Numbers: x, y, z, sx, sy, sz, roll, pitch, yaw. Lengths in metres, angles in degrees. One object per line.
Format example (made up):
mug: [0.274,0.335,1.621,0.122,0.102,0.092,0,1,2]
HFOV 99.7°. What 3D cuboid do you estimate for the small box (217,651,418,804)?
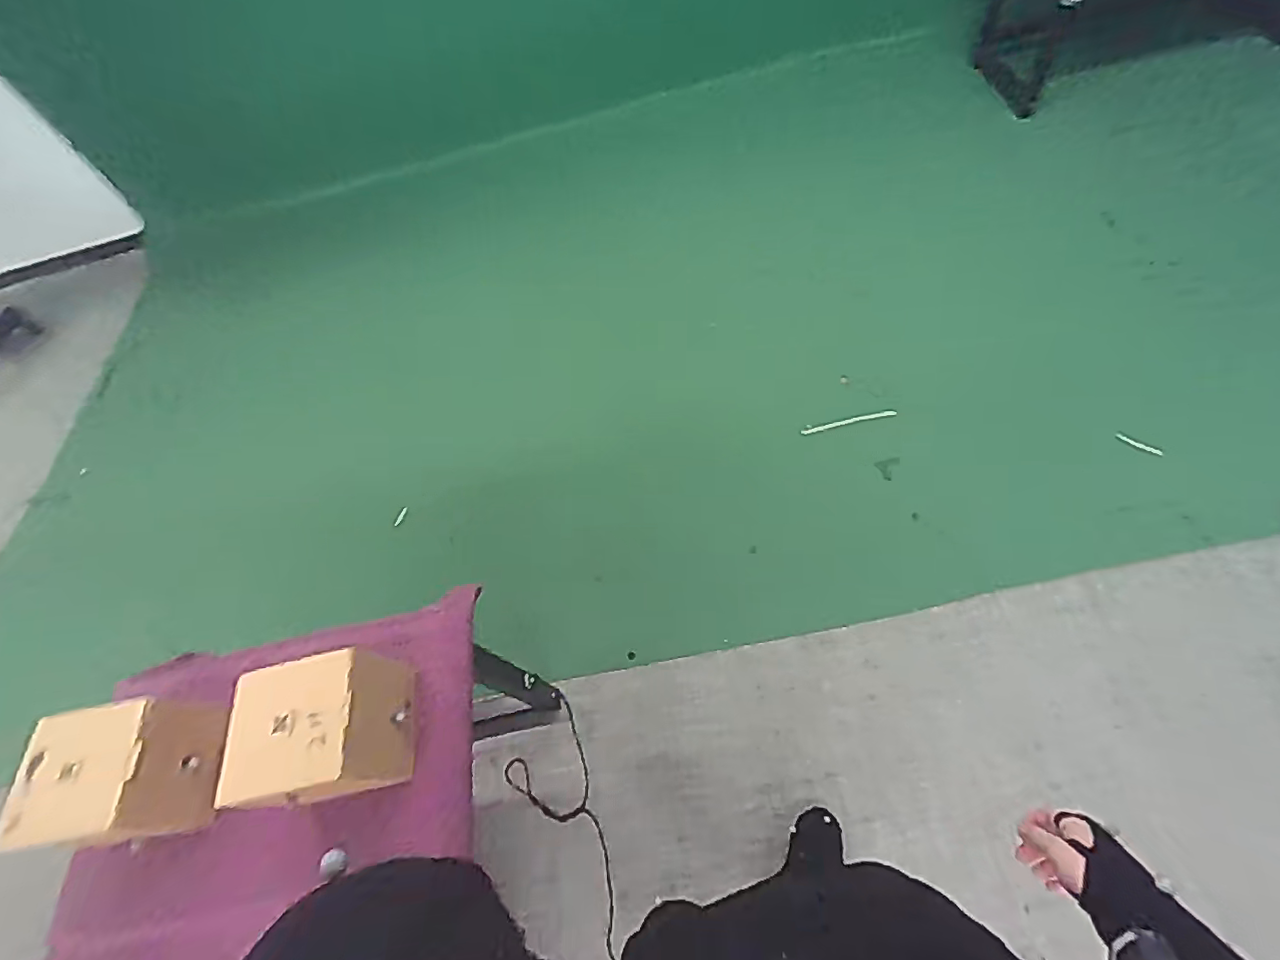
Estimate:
small box: [-0.454,0.366,0.790,0.179,0.176,0.168,-14,59,4]

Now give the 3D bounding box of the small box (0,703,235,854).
small box: [-0.759,0.443,0.809,0.179,0.176,0.168,-11,58,2]
